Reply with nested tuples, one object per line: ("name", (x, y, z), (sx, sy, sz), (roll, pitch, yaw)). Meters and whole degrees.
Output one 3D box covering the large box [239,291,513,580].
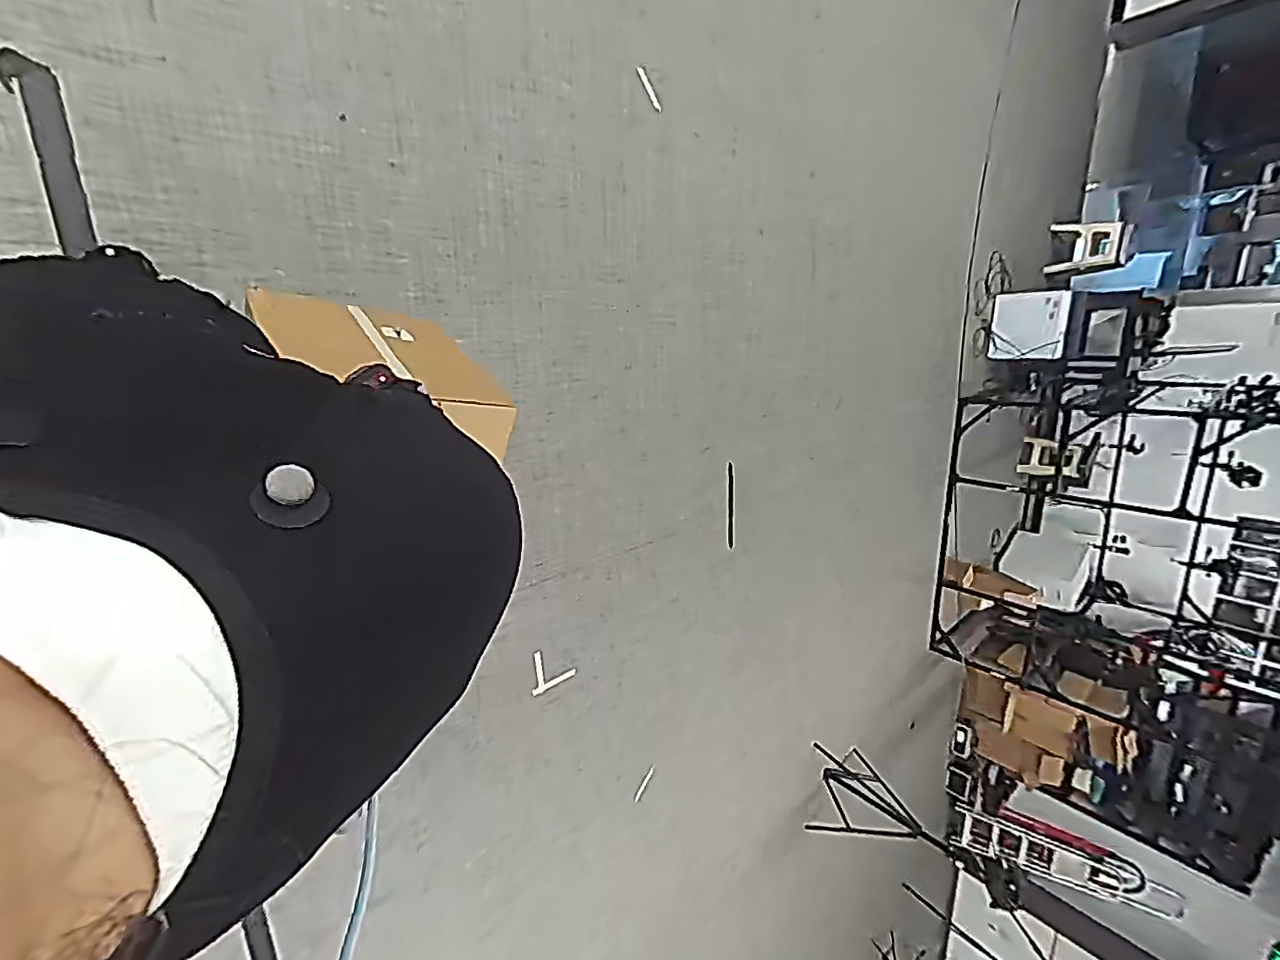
("large box", (-0.471, -0.087, 0.925), (0.320, 0.408, 0.320), (-1, 121, -42))
